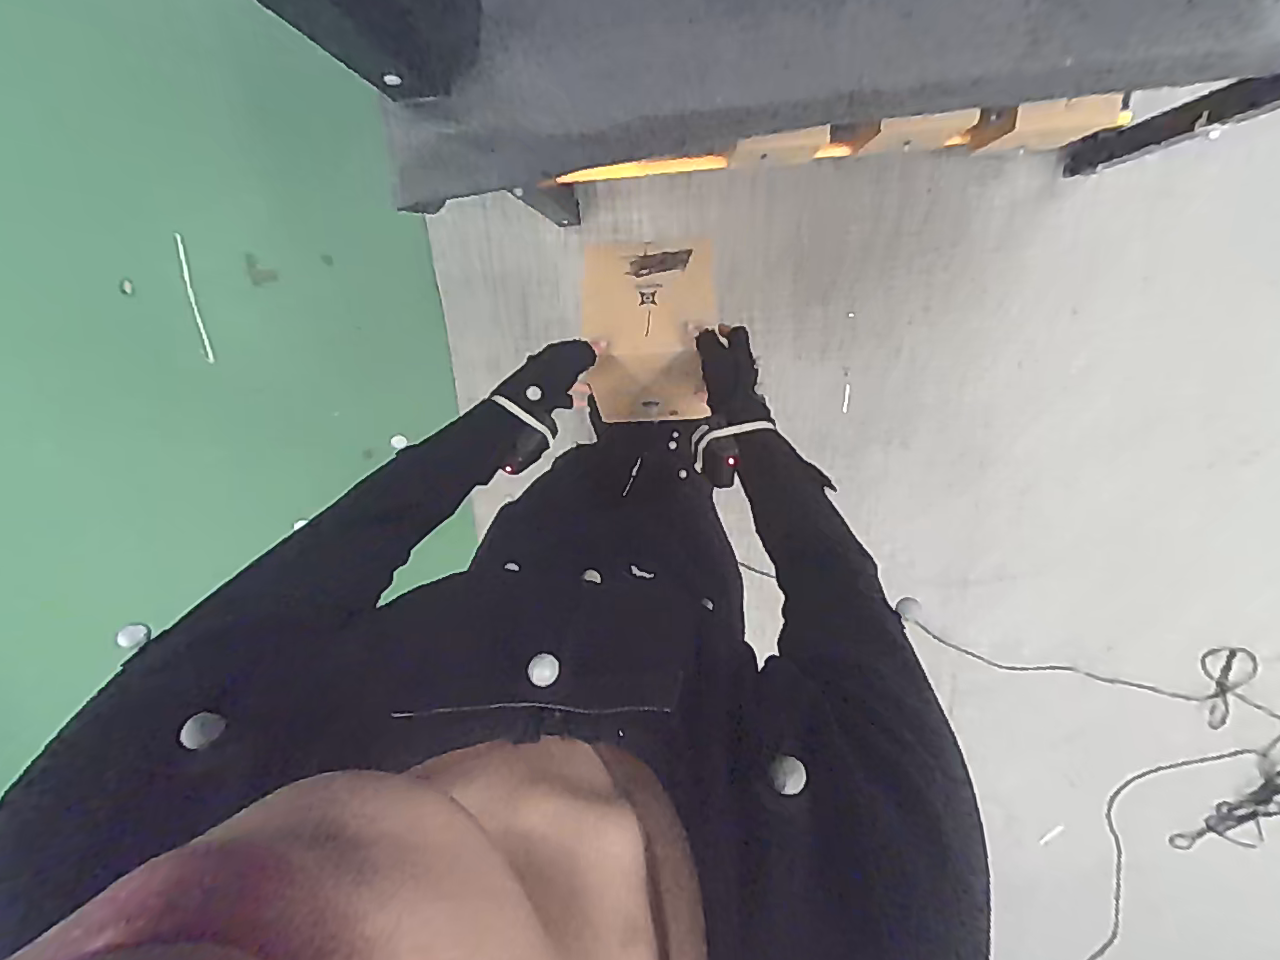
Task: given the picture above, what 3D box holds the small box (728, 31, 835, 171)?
[{"bbox_3d":[0.256,-0.694,1.014,0.168,0.176,0.179,-2,107,5],"label":"small box"}]
